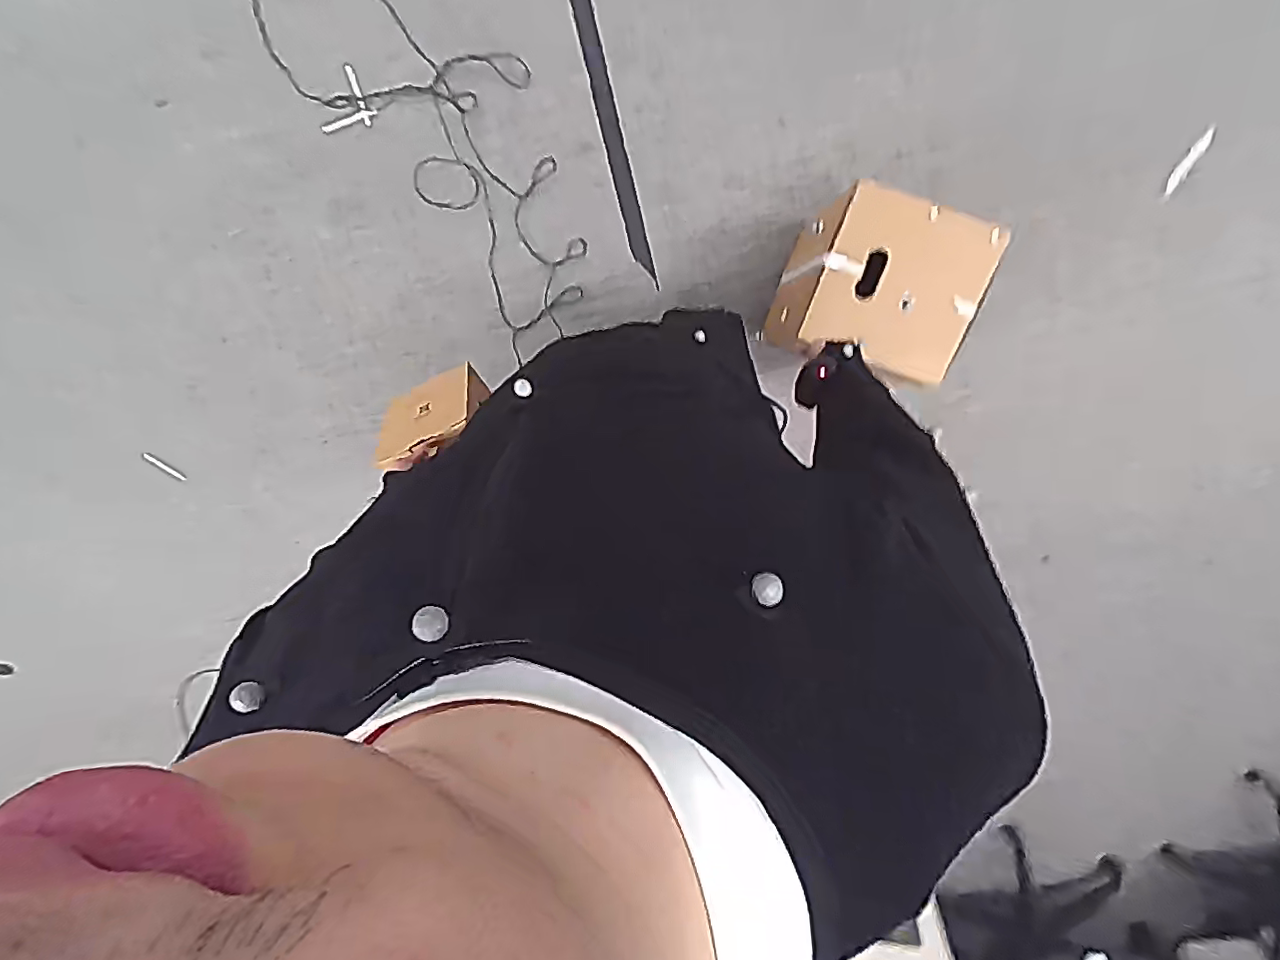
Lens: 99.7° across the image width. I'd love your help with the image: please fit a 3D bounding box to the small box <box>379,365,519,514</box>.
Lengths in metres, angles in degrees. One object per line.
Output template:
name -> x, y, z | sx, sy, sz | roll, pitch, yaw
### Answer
small box -> -0.326, -0.063, 0.955 | 0.168, 0.179, 0.176 | -24, 134, 6
